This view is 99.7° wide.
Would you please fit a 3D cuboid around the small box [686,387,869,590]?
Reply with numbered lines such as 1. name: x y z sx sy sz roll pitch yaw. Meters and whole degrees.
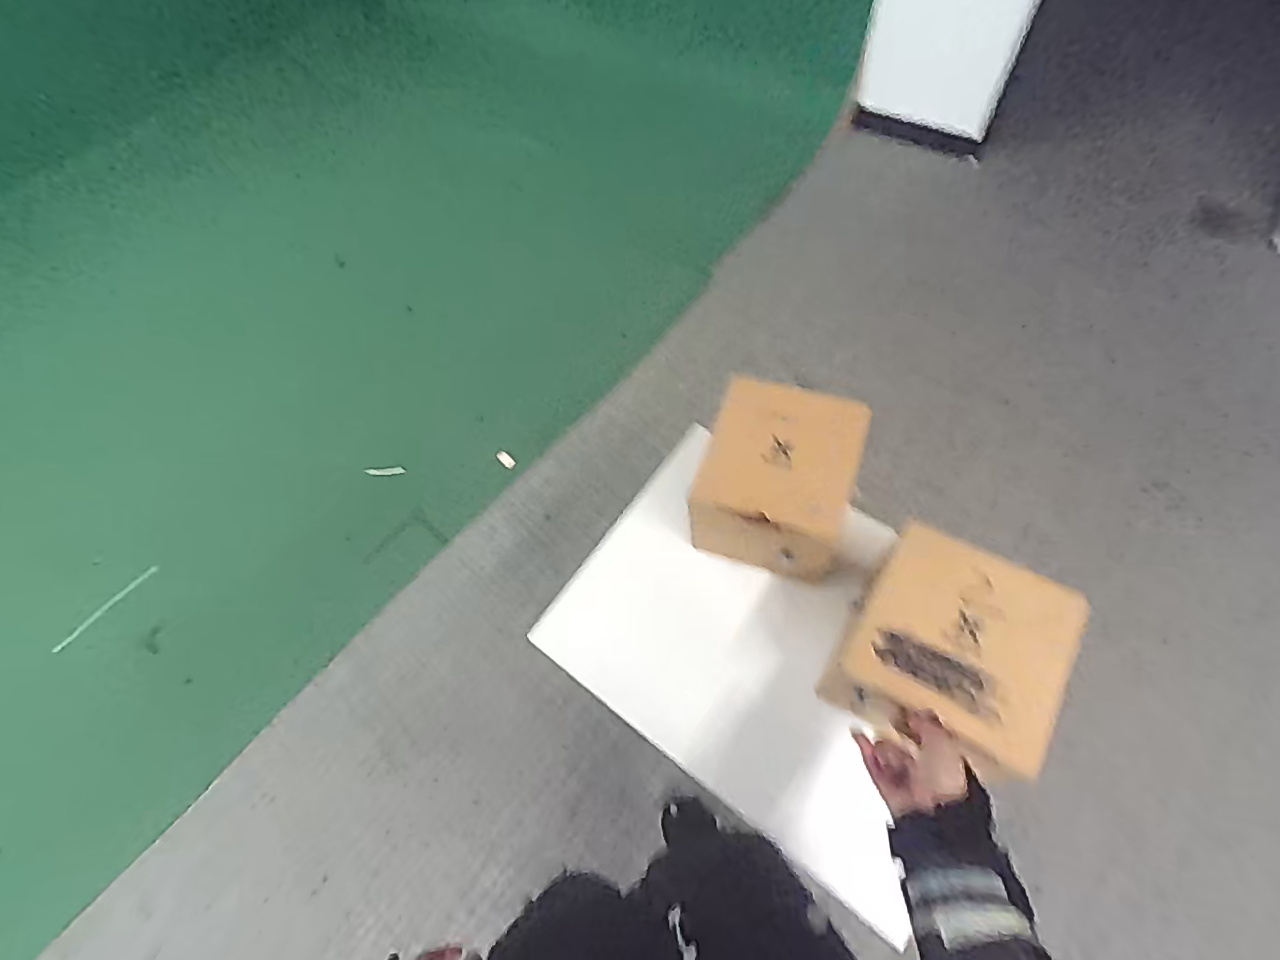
1. small box: 0.165 0.017 0.672 0.168 0.176 0.179 16 65 15
